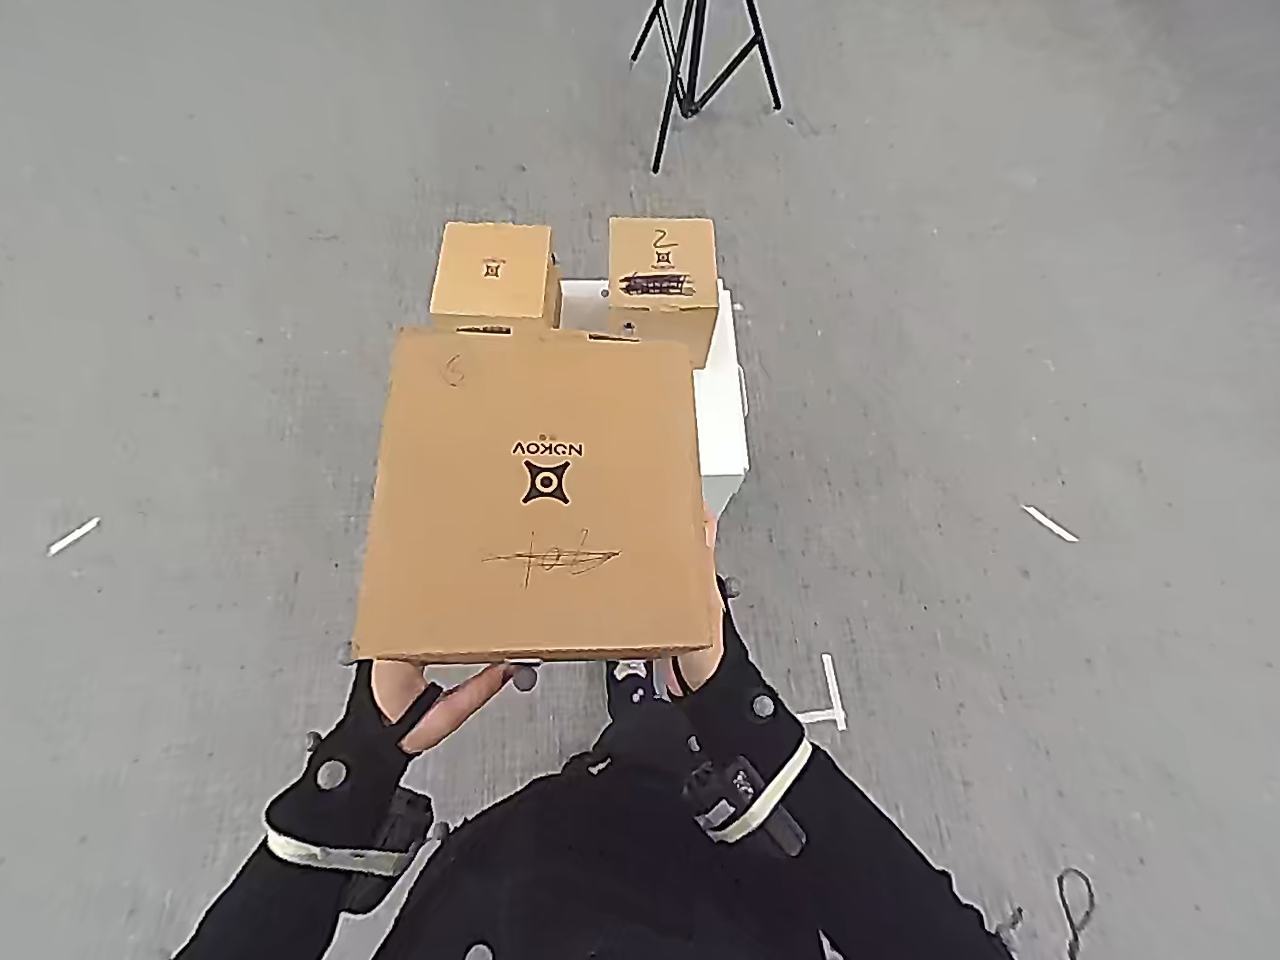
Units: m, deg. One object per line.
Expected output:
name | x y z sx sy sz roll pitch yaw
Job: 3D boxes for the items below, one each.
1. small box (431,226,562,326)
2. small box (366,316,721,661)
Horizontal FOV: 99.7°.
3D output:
small box | -0.221 -0.283 0.884 0.168 0.176 0.179 2 69 -2
small box | -0.056 0.020 0.352 0.168 0.176 0.179 0 70 -8
